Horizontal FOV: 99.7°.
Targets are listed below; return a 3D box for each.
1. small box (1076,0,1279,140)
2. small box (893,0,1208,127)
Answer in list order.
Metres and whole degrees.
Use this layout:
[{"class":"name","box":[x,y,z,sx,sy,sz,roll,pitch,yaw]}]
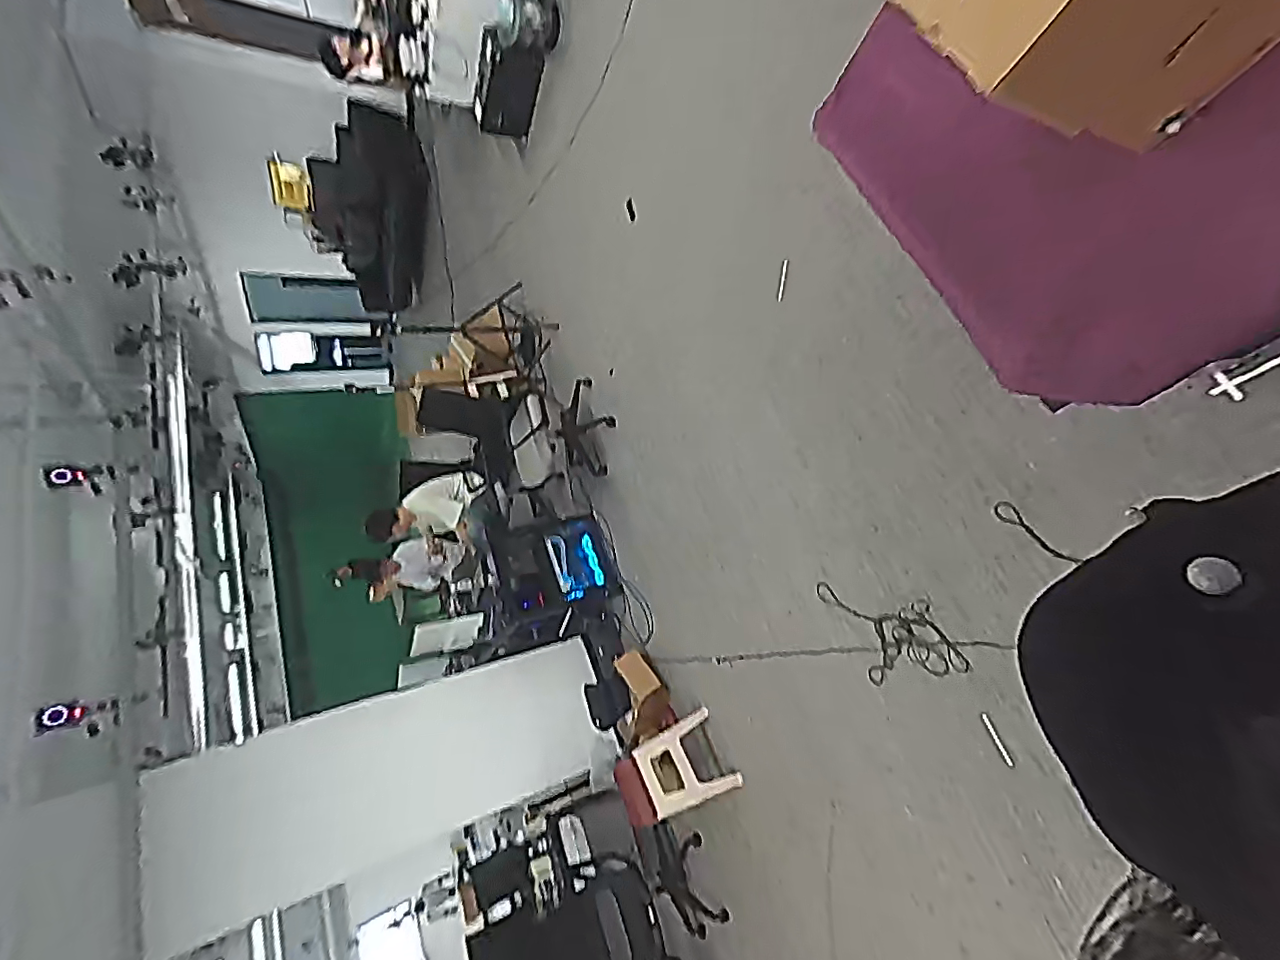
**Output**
[{"class":"small box","box":[0.480,-0.458,0.515,0.168,0.176,0.179,-50,56,51]},{"class":"small box","box":[0.343,-0.426,0.429,0.179,0.176,0.168,-51,55,51]}]
